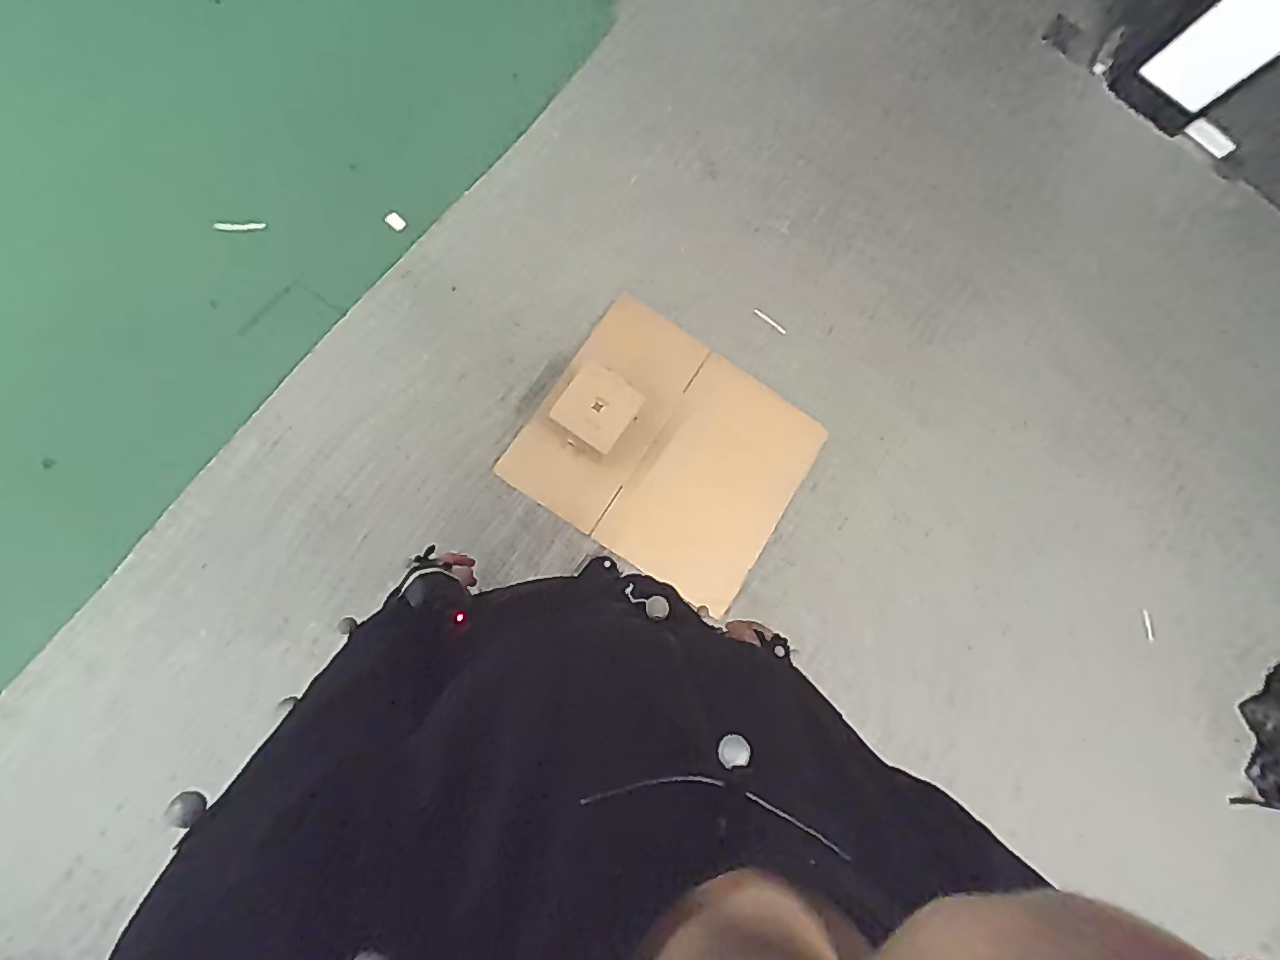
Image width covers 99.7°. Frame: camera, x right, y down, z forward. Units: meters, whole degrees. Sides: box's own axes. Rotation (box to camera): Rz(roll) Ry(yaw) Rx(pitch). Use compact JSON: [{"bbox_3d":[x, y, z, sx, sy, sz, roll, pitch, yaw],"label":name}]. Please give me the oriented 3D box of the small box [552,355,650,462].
[{"bbox_3d":[-0.099,-0.165,1.316,0.168,0.176,0.179,34,80,-1],"label":"small box"}]
